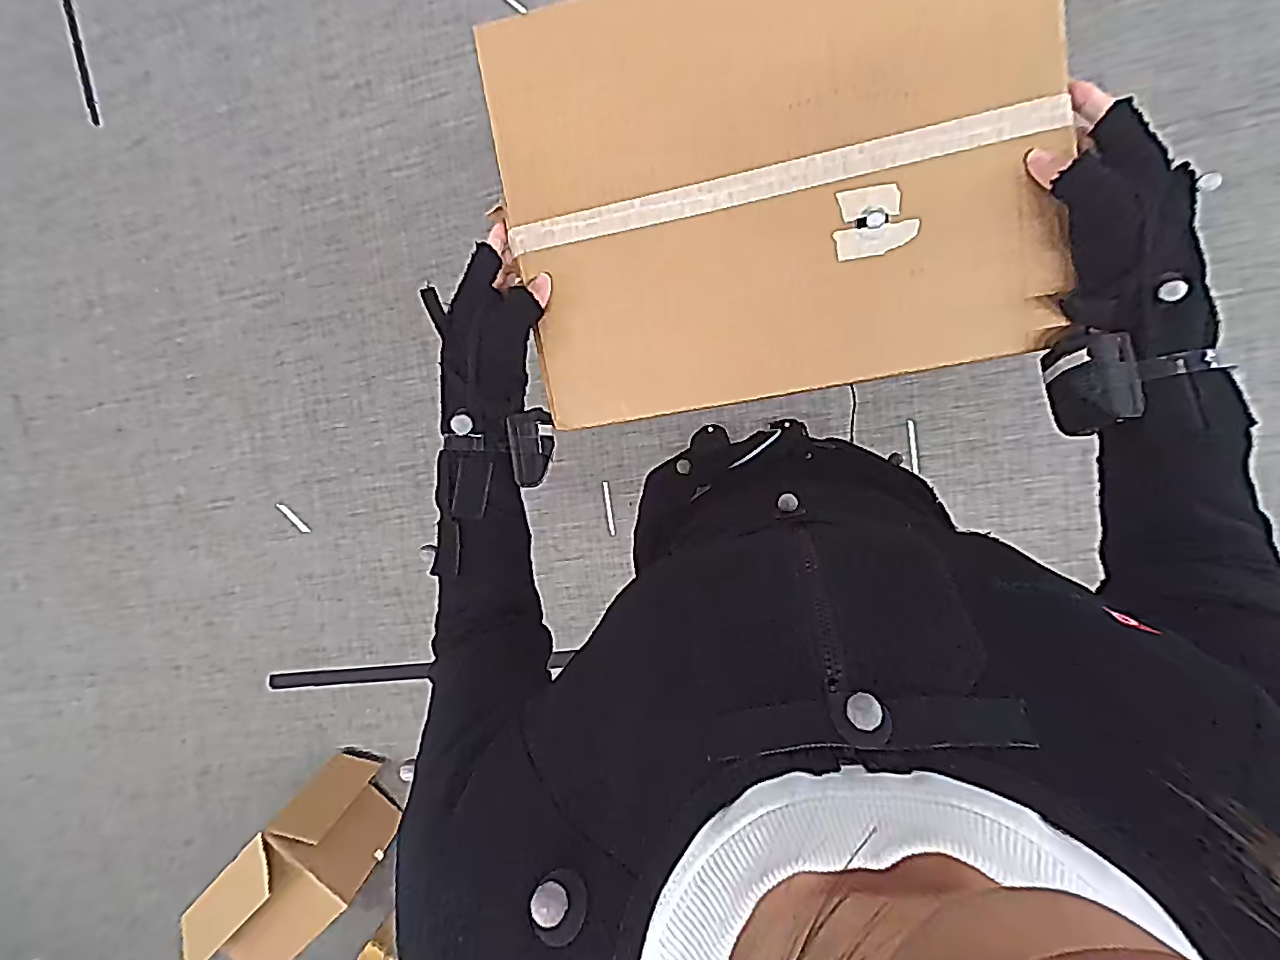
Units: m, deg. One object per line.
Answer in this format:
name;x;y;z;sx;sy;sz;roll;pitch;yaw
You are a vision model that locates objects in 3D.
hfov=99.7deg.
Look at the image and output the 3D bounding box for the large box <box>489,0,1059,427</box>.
large box;0.115;-0.249;0.565;0.408;0.320;0.320;-9;99;9
